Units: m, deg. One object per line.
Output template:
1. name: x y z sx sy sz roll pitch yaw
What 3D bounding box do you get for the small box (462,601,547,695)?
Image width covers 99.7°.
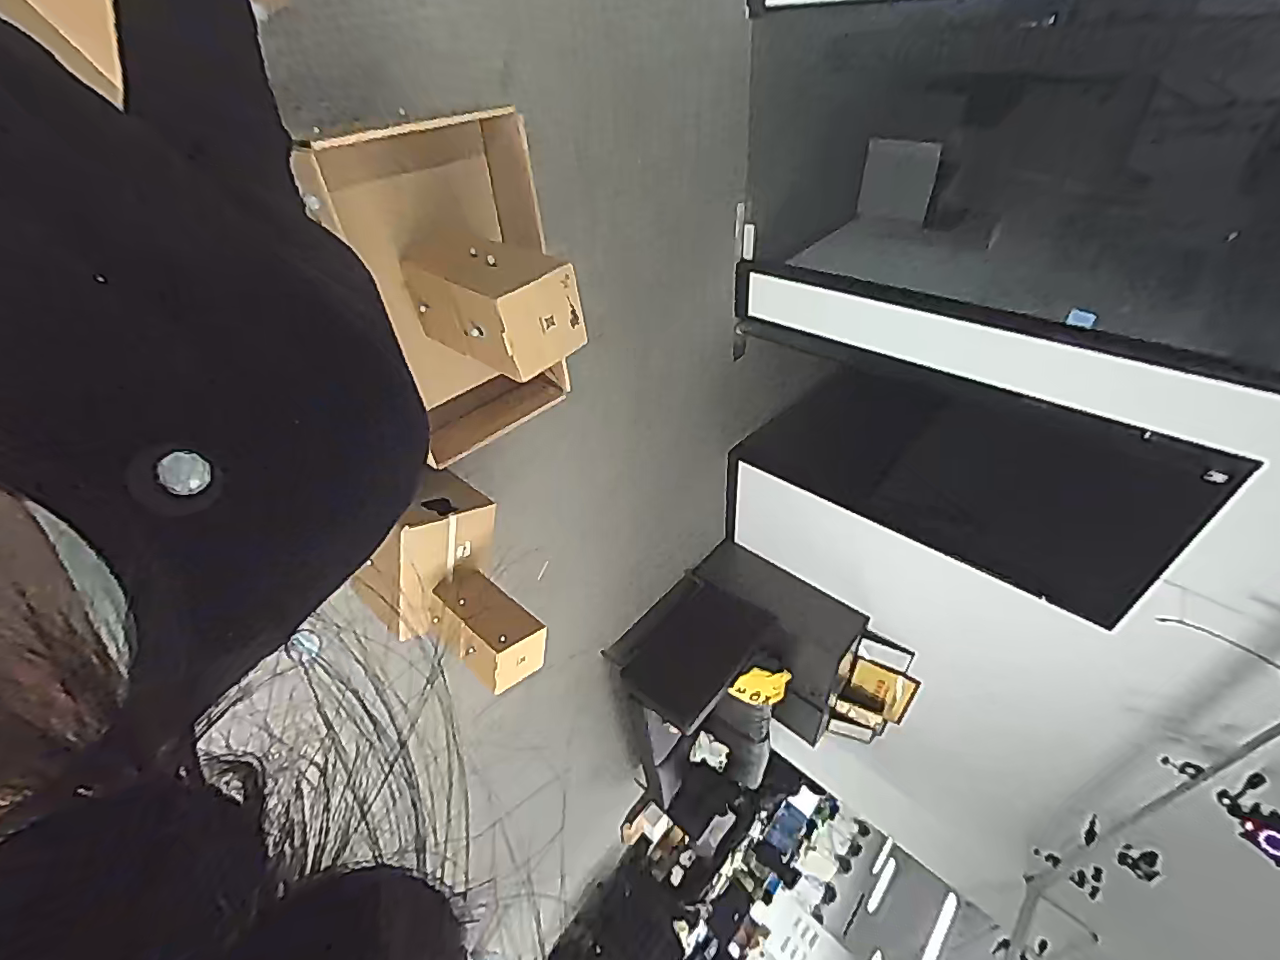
1. small box: -0.399 0.486 1.594 0.179 0.176 0.168 -21 130 -45

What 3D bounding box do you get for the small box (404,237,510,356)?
1. small box: -0.346 -0.384 1.113 0.179 0.176 0.168 -38 140 -31

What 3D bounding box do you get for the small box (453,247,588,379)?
1. small box: -0.227 -0.320 1.021 0.179 0.176 0.168 -39 141 -29
